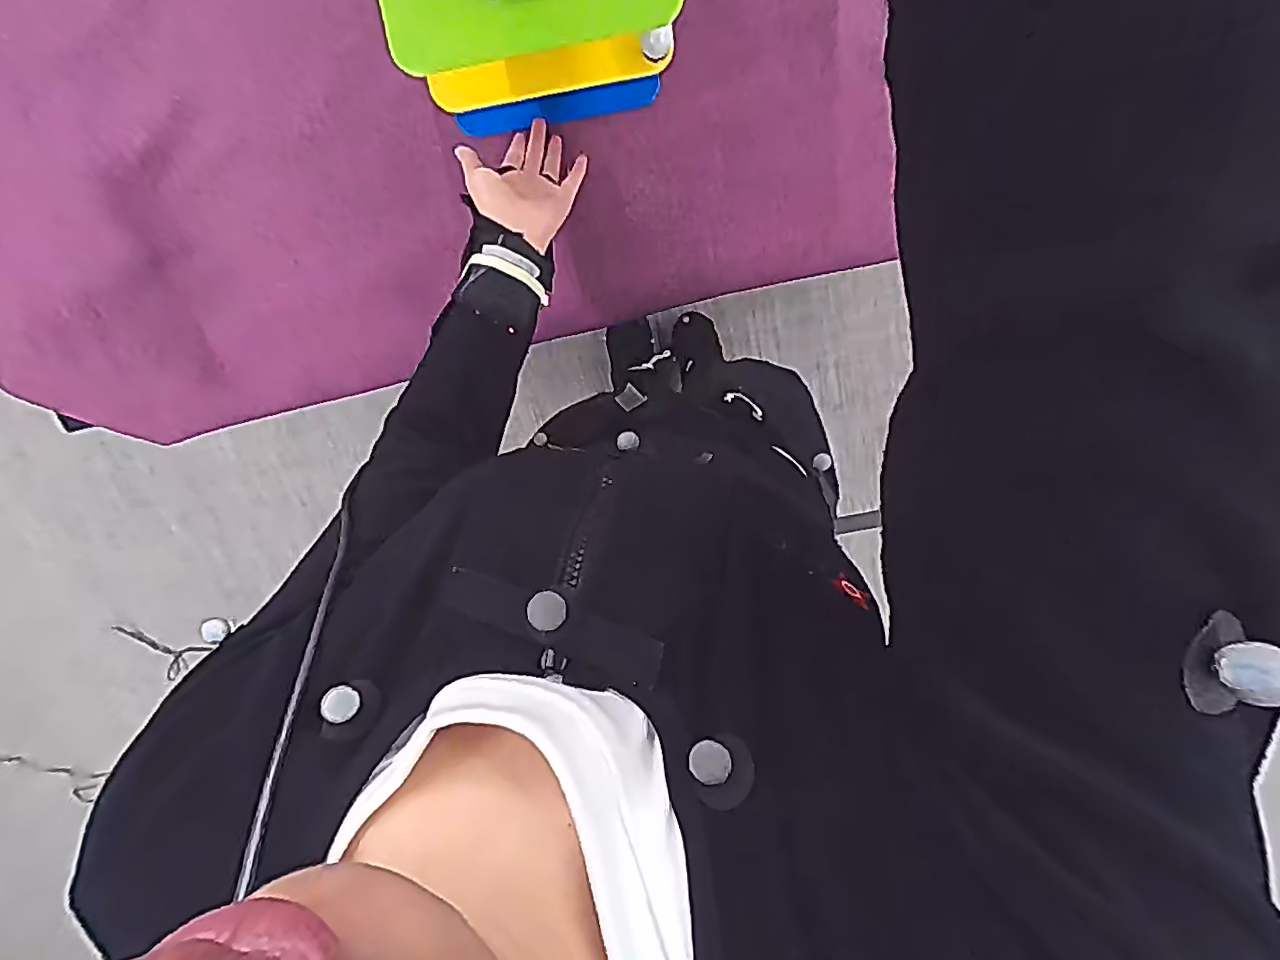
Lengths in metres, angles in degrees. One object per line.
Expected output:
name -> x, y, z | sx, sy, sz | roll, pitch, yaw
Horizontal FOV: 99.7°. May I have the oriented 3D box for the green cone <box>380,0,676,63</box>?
green cone -> -0.089, -0.347, 0.163 | 0.200, 0.368, 0.202 | -8, 101, 5
